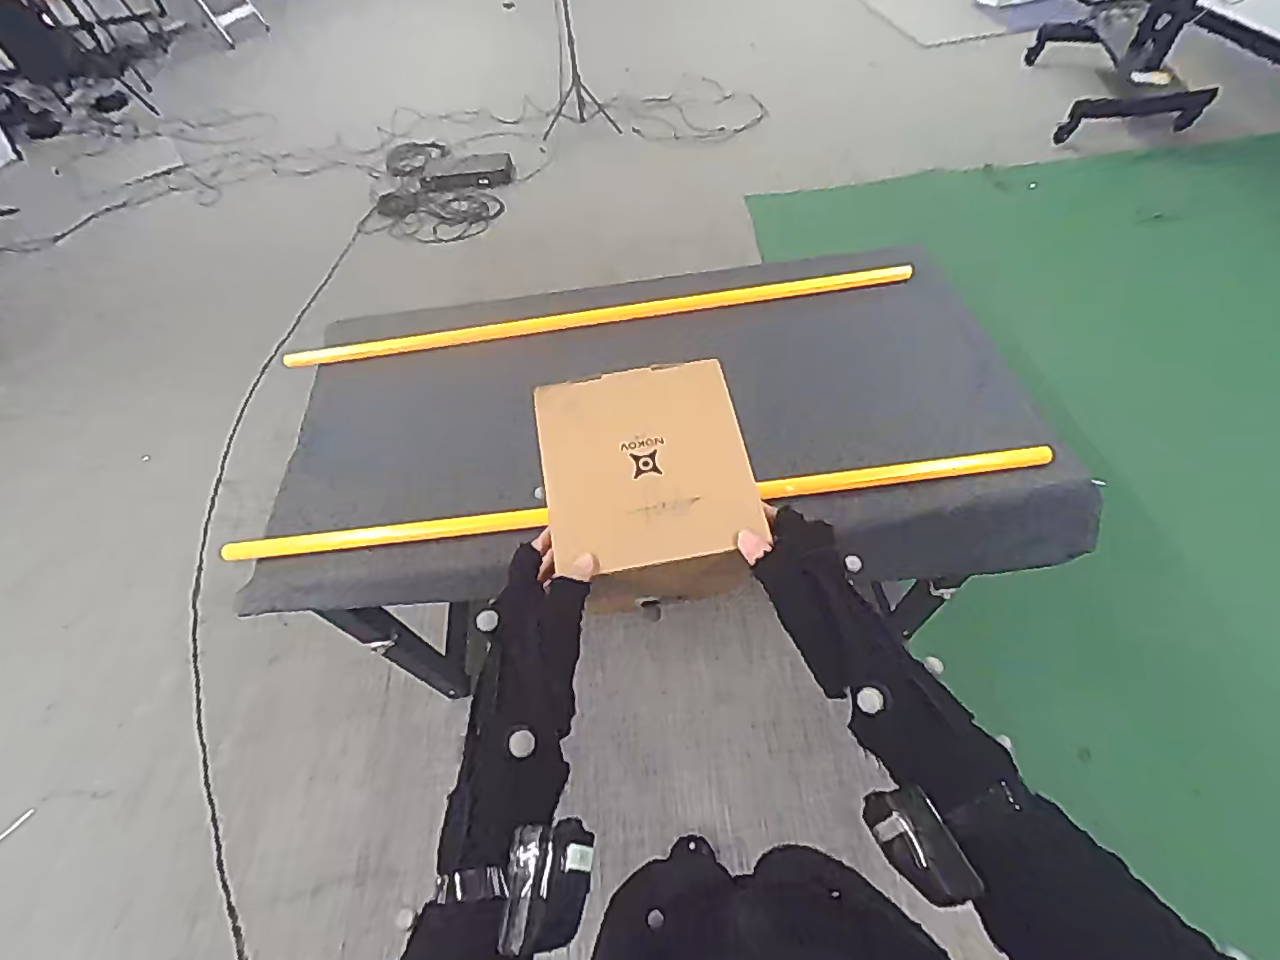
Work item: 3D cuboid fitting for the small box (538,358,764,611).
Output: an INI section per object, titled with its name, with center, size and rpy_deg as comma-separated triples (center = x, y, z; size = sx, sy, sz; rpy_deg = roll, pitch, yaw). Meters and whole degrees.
[small box]
center = 0.003, 0.012, 0.517
size = 0.168, 0.176, 0.179
rpy_deg = -9, 66, -3
